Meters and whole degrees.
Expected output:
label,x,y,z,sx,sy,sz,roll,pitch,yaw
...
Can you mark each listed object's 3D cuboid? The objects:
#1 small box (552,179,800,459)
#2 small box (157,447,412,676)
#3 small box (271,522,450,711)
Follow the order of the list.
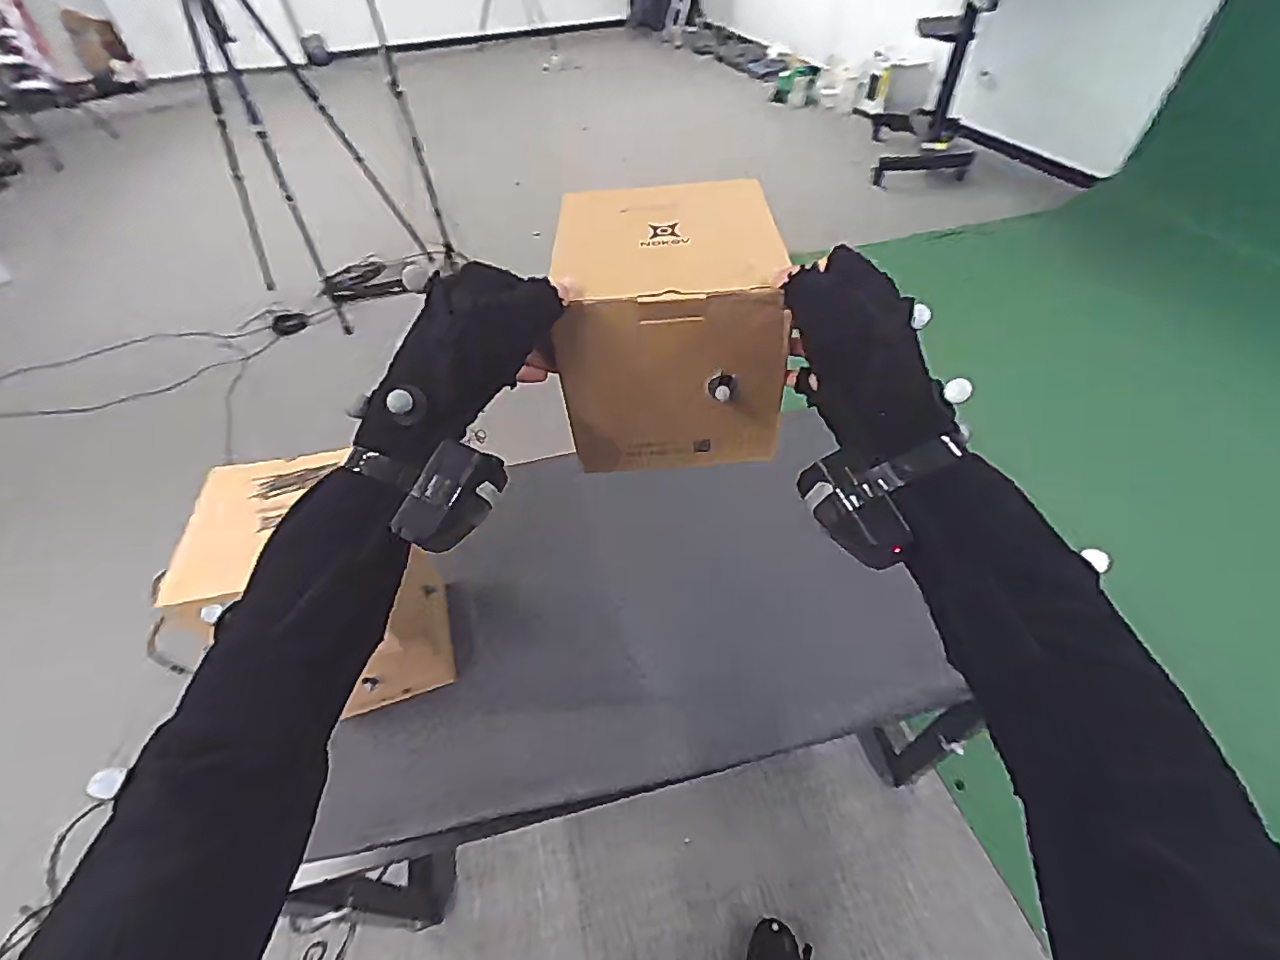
label,x,y,z,sx,sy,sz,roll,pitch,yaw
small box,0.029,-0.129,0.463,0.168,0.176,0.179,-3,49,2
small box,-0.367,0.091,0.604,0.168,0.176,0.179,-10,49,-7
small box,-0.368,0.191,0.736,0.168,0.176,0.179,-15,49,-13
